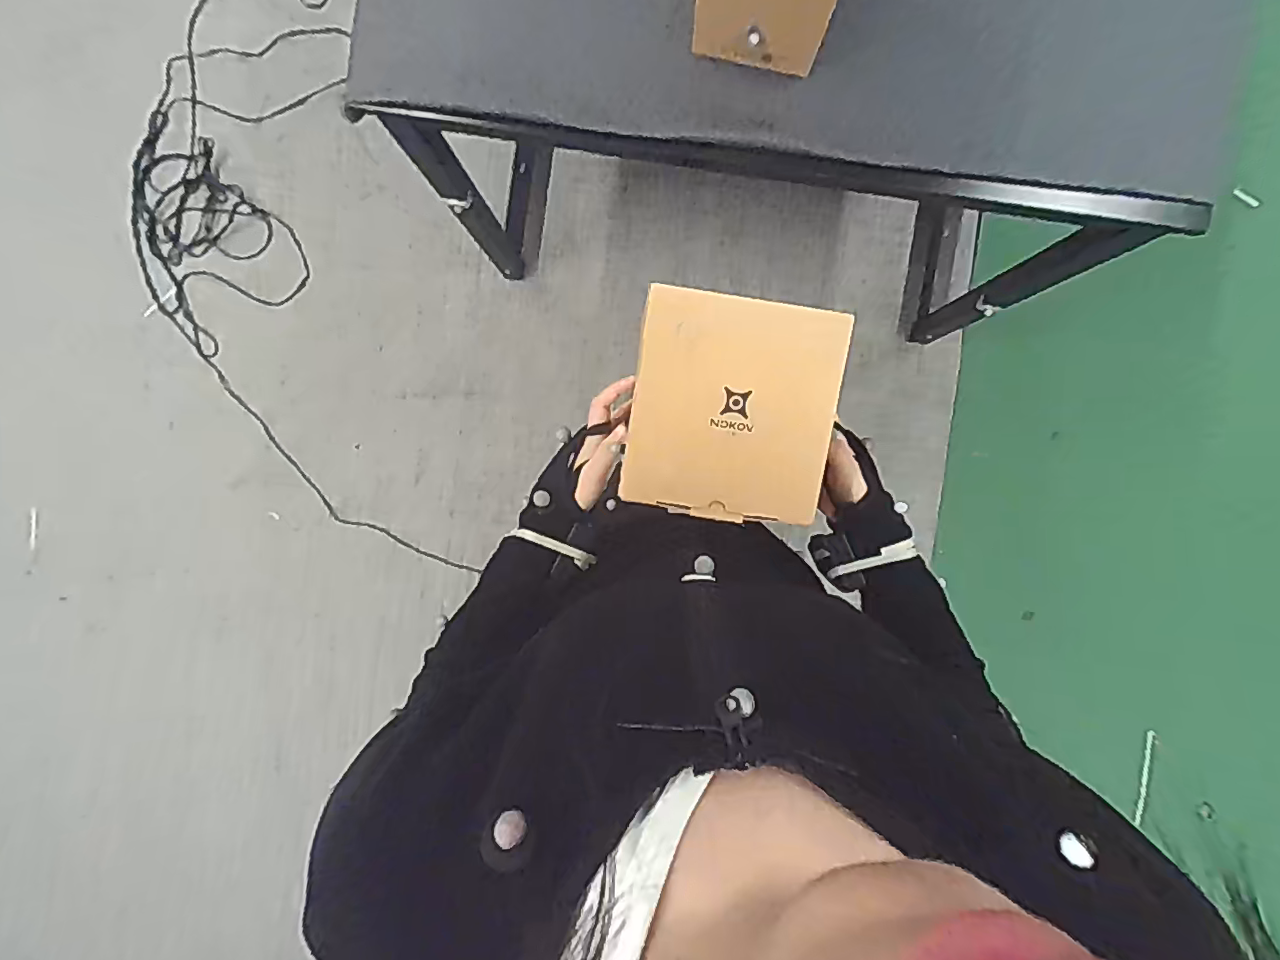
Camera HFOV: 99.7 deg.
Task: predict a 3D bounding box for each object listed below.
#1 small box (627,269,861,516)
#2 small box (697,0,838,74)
[{"bbox_3d":[0.079,-0.076,0.507,0.168,0.176,0.179,8,98,-2],"label":"small box"},{"bbox_3d":[0.170,-0.655,0.659,0.168,0.176,0.179,13,91,2],"label":"small box"}]
